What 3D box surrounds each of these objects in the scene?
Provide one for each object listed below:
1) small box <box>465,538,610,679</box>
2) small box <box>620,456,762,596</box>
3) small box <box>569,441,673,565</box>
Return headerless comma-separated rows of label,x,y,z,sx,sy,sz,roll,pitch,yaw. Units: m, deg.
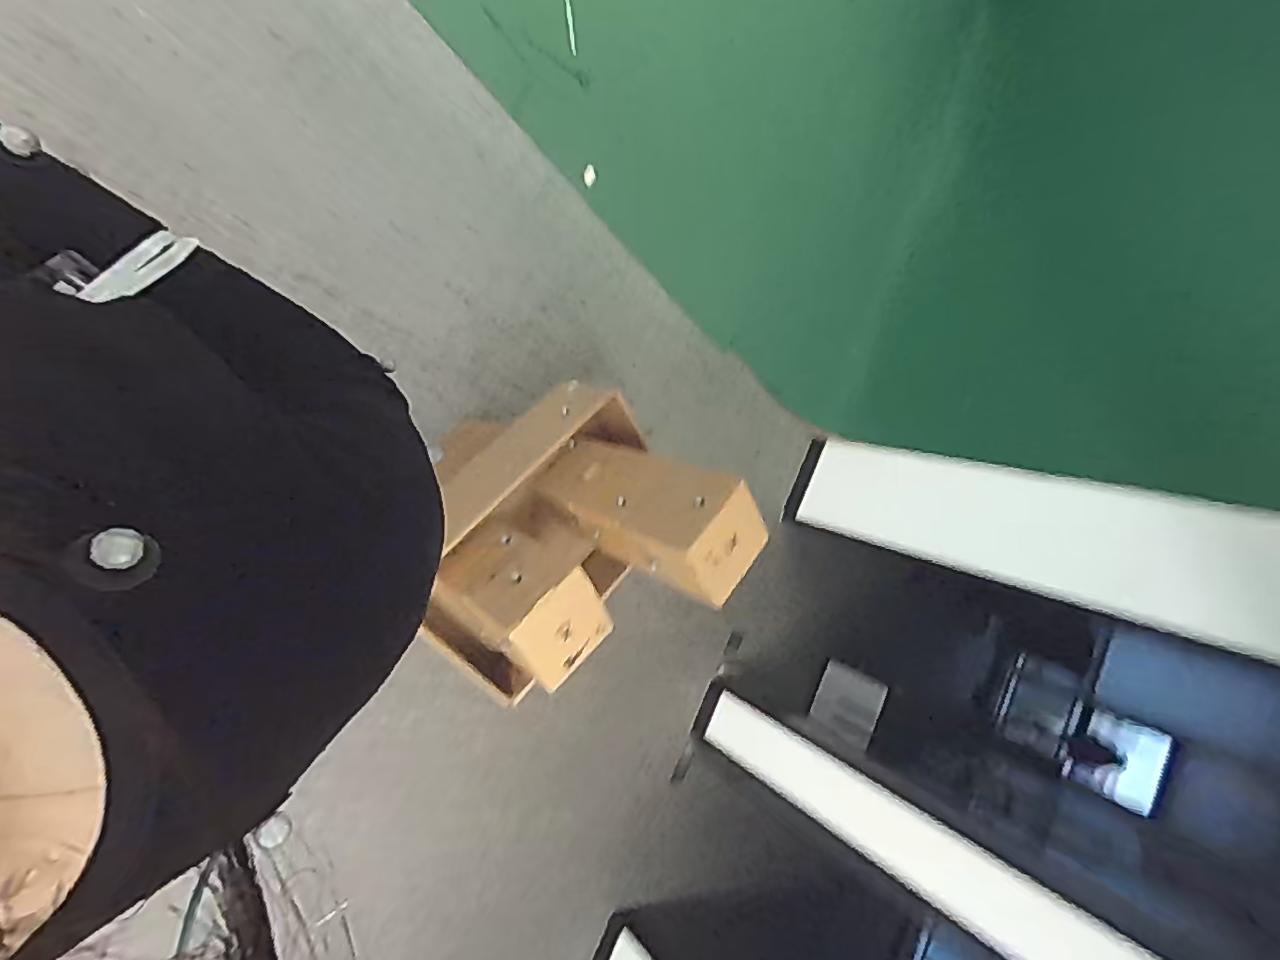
small box,-0.193,0.228,1.011,0.168,0.176,0.179,-42,128,-26
small box,0.095,0.077,1.010,0.179,0.176,0.168,-49,131,-20
small box,-0.014,0.040,1.128,0.179,0.176,0.168,-48,131,-21
